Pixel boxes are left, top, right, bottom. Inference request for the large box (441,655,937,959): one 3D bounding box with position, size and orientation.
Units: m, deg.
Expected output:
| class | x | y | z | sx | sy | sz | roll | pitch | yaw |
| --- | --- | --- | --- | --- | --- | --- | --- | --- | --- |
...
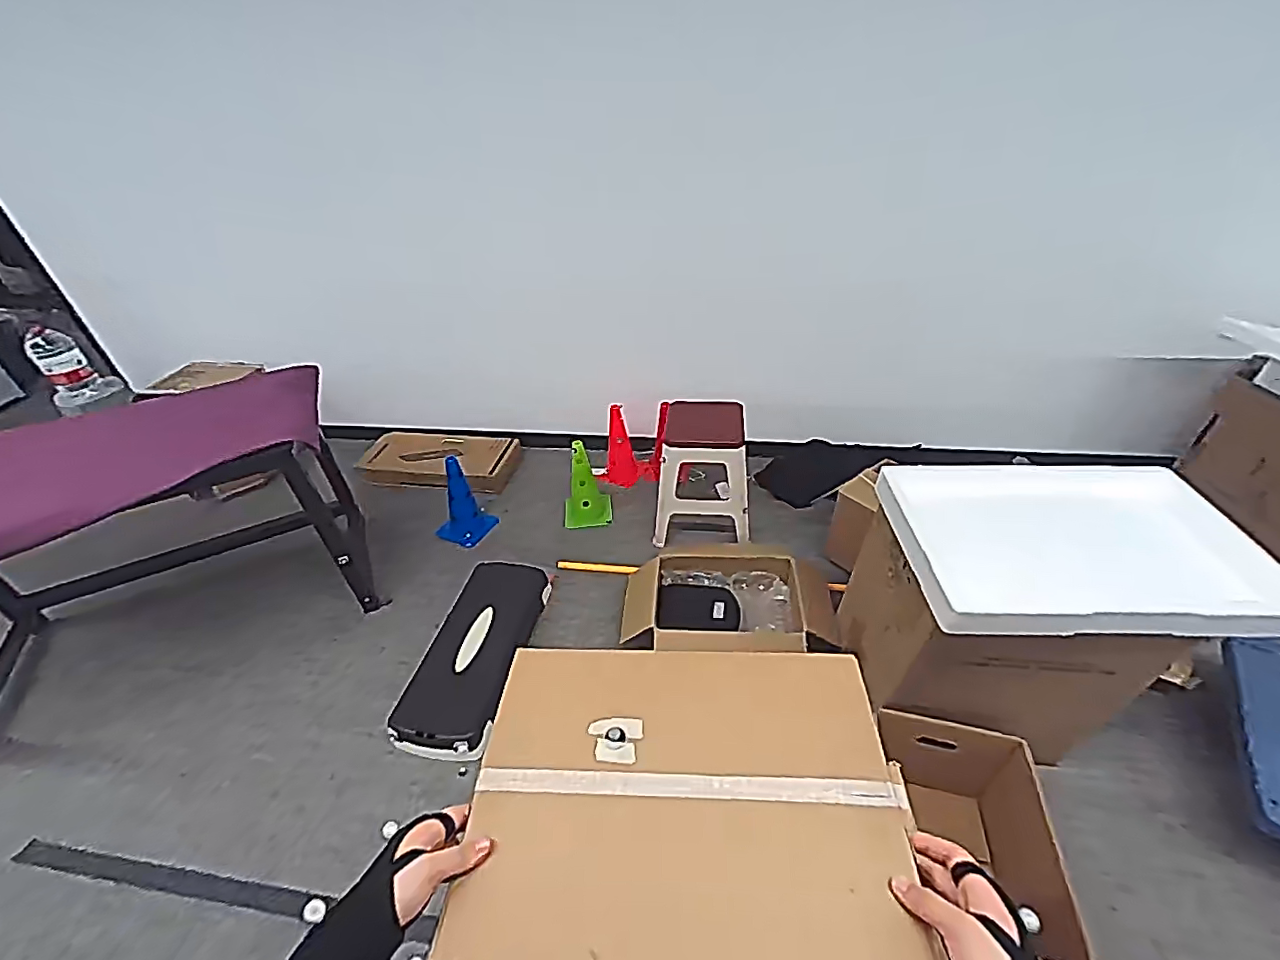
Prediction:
| class | x | y | z | sx | sy | sz | roll | pitch | yaw |
| --- | --- | --- | --- | --- | --- | --- | --- | --- | --- |
| large box | 0.056 | 0.426 | 0.620 | 0.408 | 0.320 | 0.320 | -3 | 36 | 7 |
